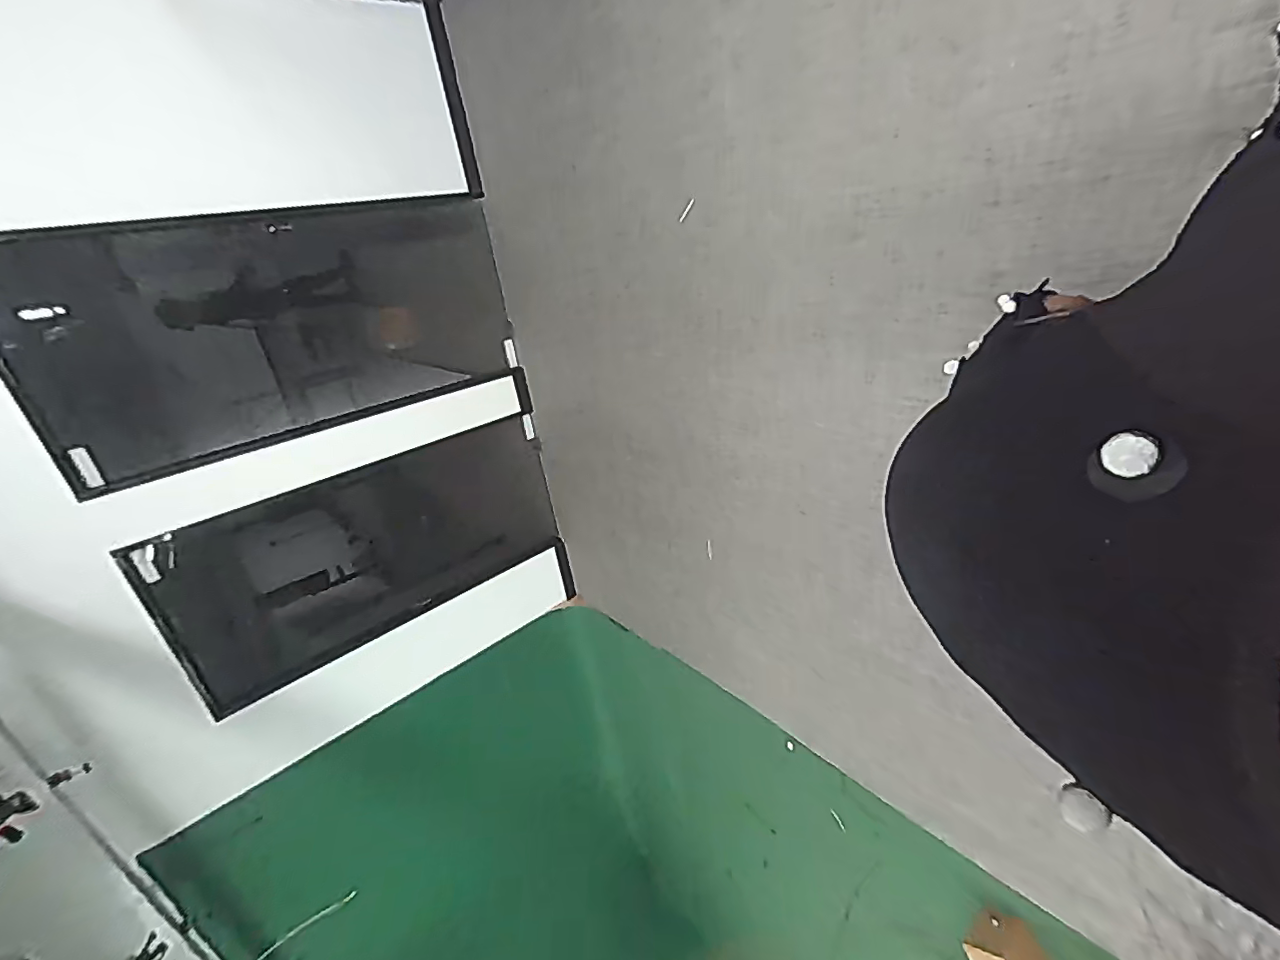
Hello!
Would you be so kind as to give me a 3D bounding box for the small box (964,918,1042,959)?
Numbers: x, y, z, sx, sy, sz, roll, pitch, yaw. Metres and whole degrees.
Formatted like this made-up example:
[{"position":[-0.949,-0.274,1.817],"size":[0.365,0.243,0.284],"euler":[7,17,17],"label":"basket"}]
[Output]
[{"position":[1.295,1.703,1.895],"size":[0.179,0.176,0.168],"euler":[61,147,8],"label":"small box"}]
